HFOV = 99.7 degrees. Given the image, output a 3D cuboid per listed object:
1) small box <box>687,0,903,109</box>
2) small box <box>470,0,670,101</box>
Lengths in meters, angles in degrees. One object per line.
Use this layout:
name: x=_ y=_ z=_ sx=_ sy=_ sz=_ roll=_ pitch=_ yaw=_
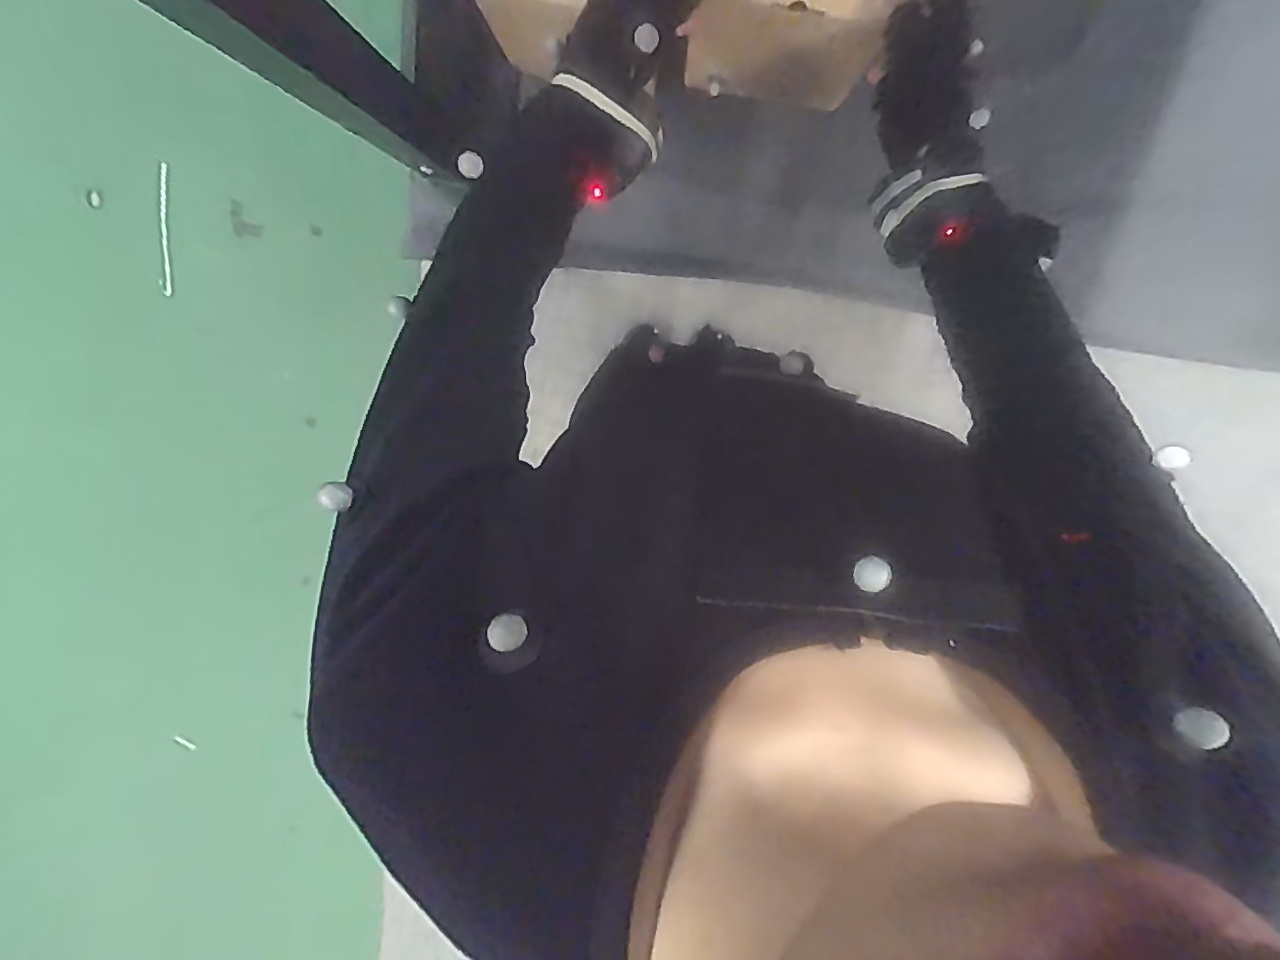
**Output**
small box: x=0.136 y=-0.461 z=0.473 sx=0.168 sy=0.176 sz=0.179 roll=10 pitch=105 yaw=0
small box: x=-0.051 y=-0.501 z=0.515 sx=0.168 sy=0.176 sz=0.179 roll=12 pitch=105 yaw=-3
